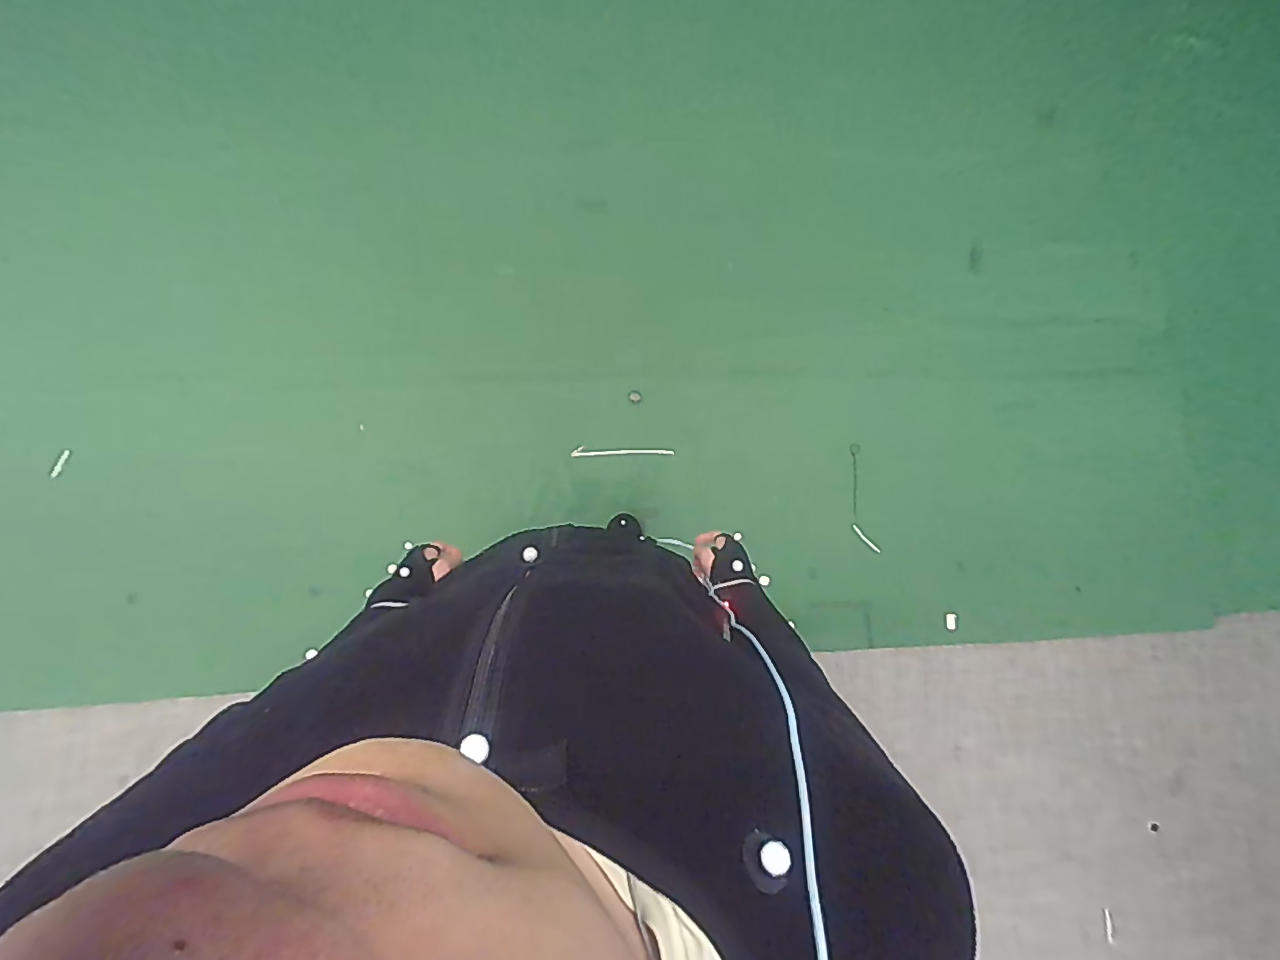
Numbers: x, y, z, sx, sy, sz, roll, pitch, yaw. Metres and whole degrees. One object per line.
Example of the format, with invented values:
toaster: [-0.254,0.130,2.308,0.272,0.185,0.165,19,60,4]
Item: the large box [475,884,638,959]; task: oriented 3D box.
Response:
large box: [-0.204,1.325,1.400,0.408,0.320,0.320,-4,86,-5]
